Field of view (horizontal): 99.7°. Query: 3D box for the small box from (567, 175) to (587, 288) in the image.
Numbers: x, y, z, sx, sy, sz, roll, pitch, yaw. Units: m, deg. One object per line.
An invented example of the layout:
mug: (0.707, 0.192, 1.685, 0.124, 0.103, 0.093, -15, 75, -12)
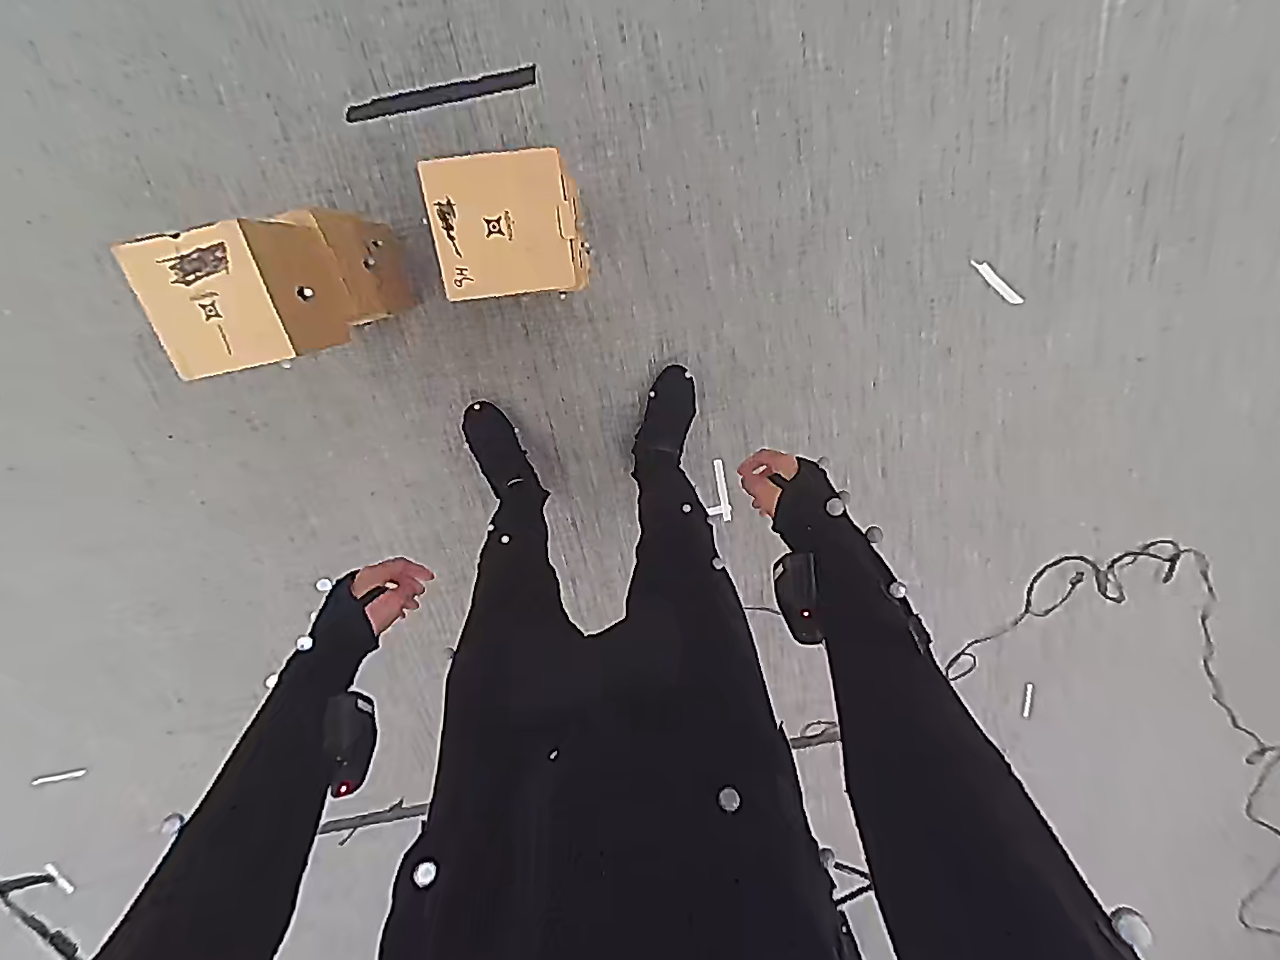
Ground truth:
small box: (-0.186, -0.404, 0.912, 0.179, 0.176, 0.168, -6, 112, -2)

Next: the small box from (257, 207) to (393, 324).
small box: (-0.554, -0.342, 0.909, 0.179, 0.176, 0.168, -15, 112, 3)

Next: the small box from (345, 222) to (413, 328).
small box: (-0.577, -0.397, 1.062, 0.168, 0.176, 0.179, -14, 112, 2)

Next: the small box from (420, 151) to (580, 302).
small box: (-0.181, -0.348, 0.757, 0.179, 0.176, 0.168, -7, 112, -3)

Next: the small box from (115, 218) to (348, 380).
small box: (-0.555, -0.256, 0.766, 0.168, 0.176, 0.179, -11, 113, 2)
